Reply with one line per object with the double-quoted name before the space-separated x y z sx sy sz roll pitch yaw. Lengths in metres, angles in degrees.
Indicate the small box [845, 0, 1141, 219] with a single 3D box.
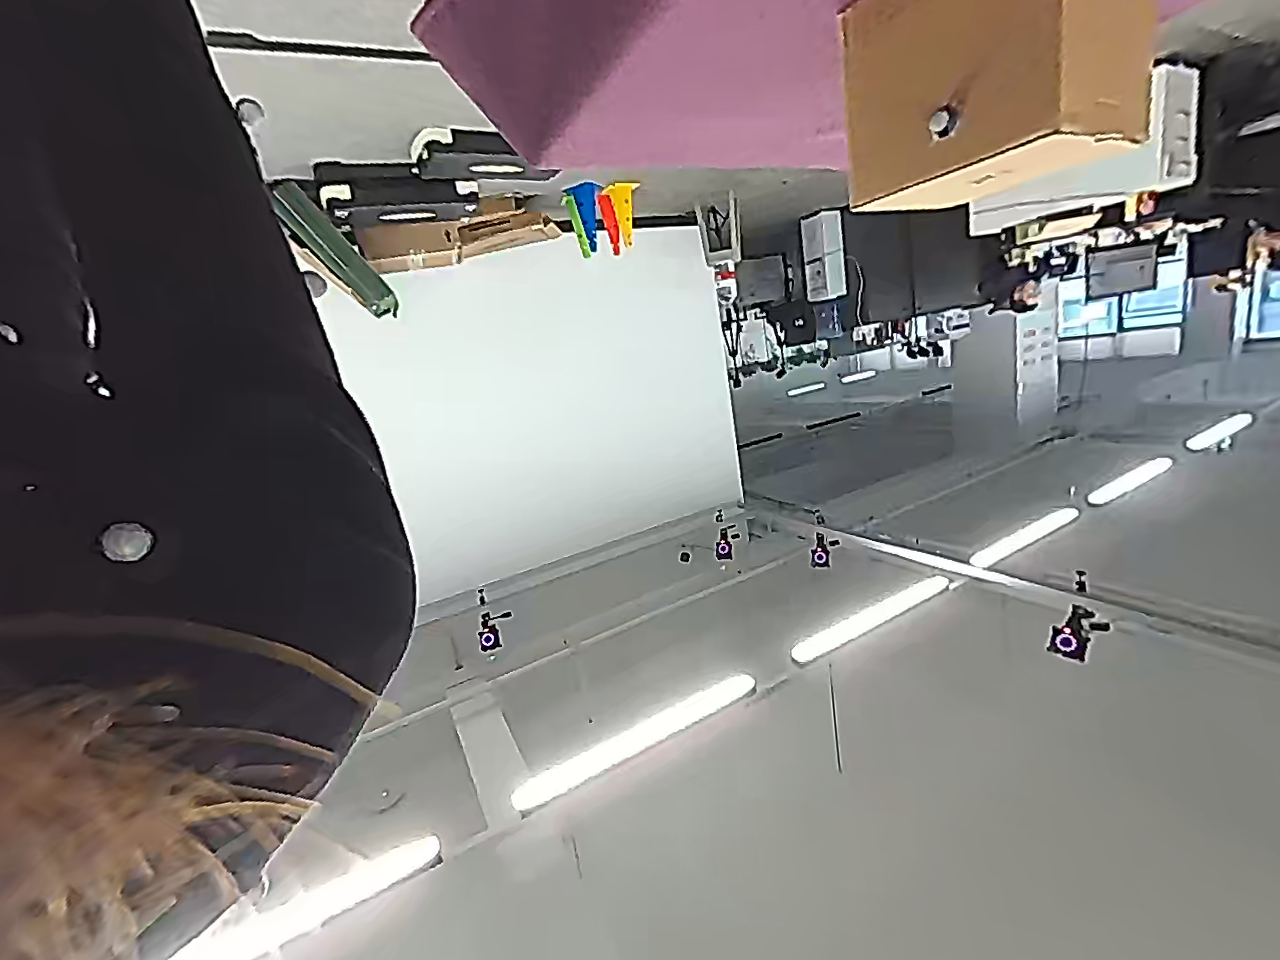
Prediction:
"small box" 0.300 -0.343 0.473 0.168 0.176 0.179 -17 -166 -29
